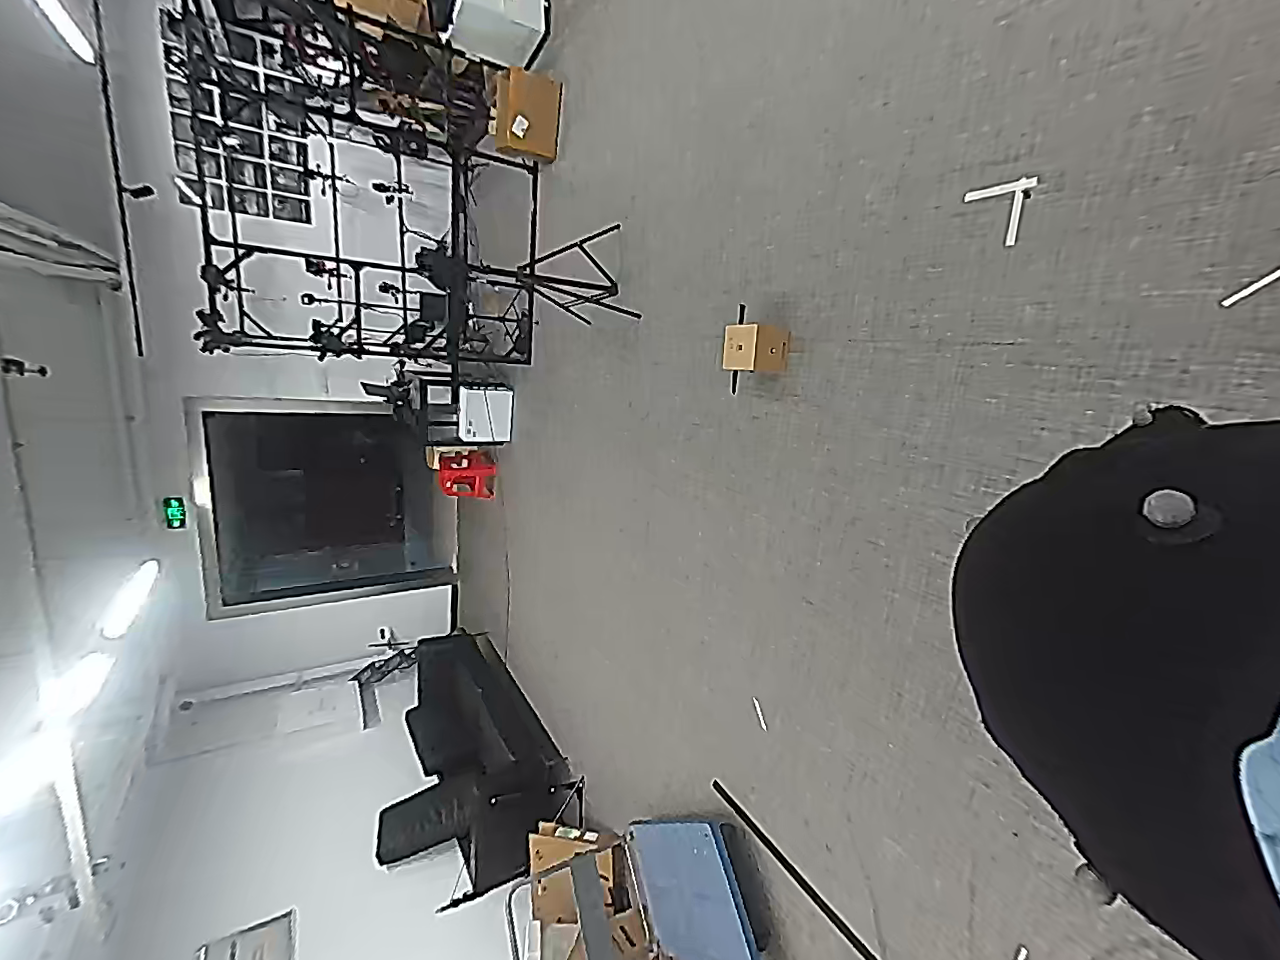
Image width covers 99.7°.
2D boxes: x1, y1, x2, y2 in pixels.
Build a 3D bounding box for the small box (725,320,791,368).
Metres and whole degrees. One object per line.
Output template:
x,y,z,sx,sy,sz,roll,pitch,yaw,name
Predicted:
0.446,-0.513,2.045,0.179,0.176,0.168,22,112,57,small box
